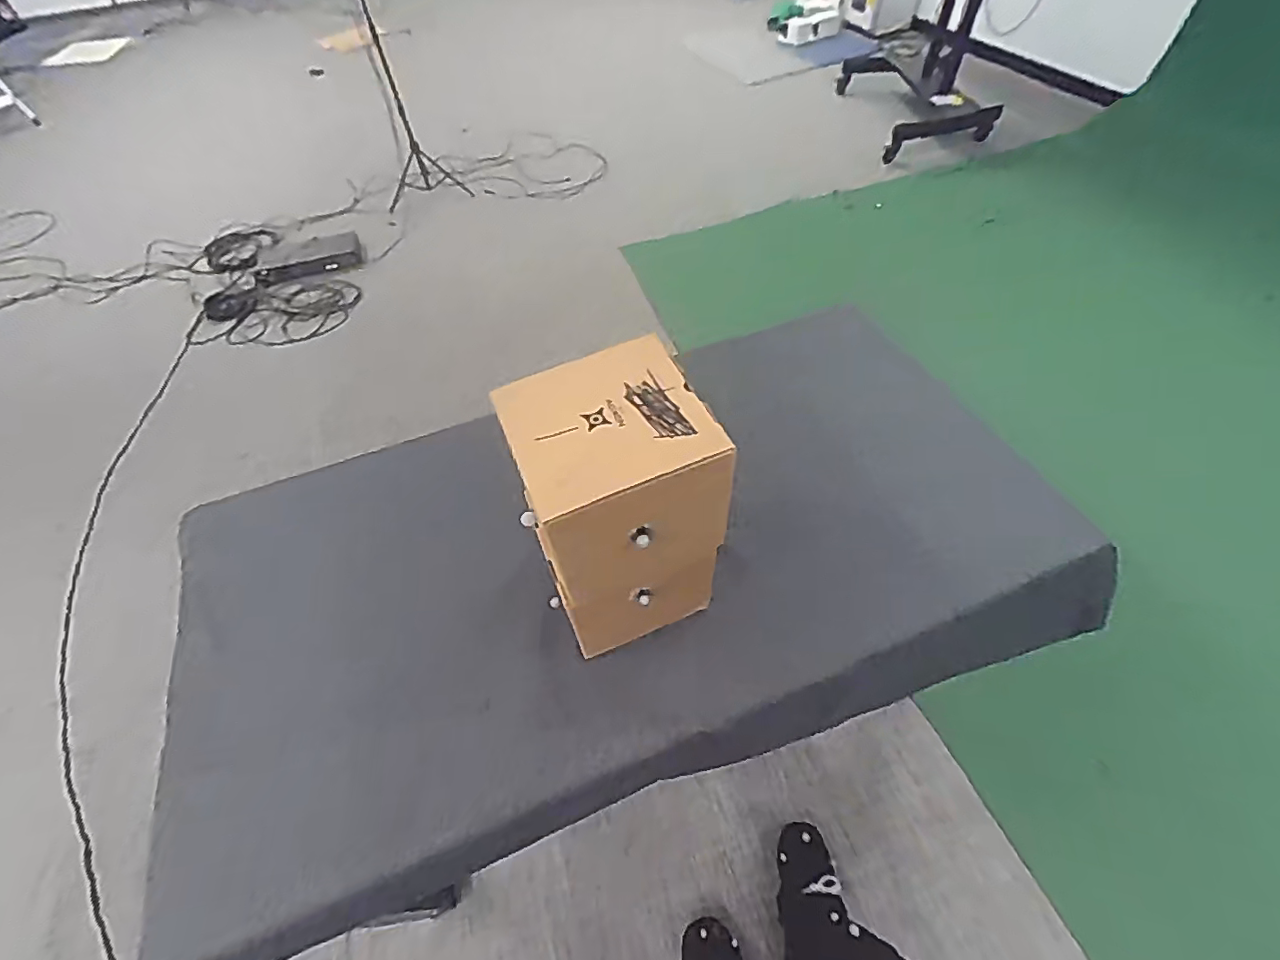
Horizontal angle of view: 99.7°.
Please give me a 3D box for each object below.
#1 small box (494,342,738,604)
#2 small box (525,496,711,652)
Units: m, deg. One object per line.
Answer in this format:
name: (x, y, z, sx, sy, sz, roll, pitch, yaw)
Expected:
small box: (-0.025, -0.004, 0.550, 0.179, 0.176, 0.168, -23, 56, -14)
small box: (-0.025, 0.091, 0.683, 0.179, 0.176, 0.168, -20, 56, -12)
